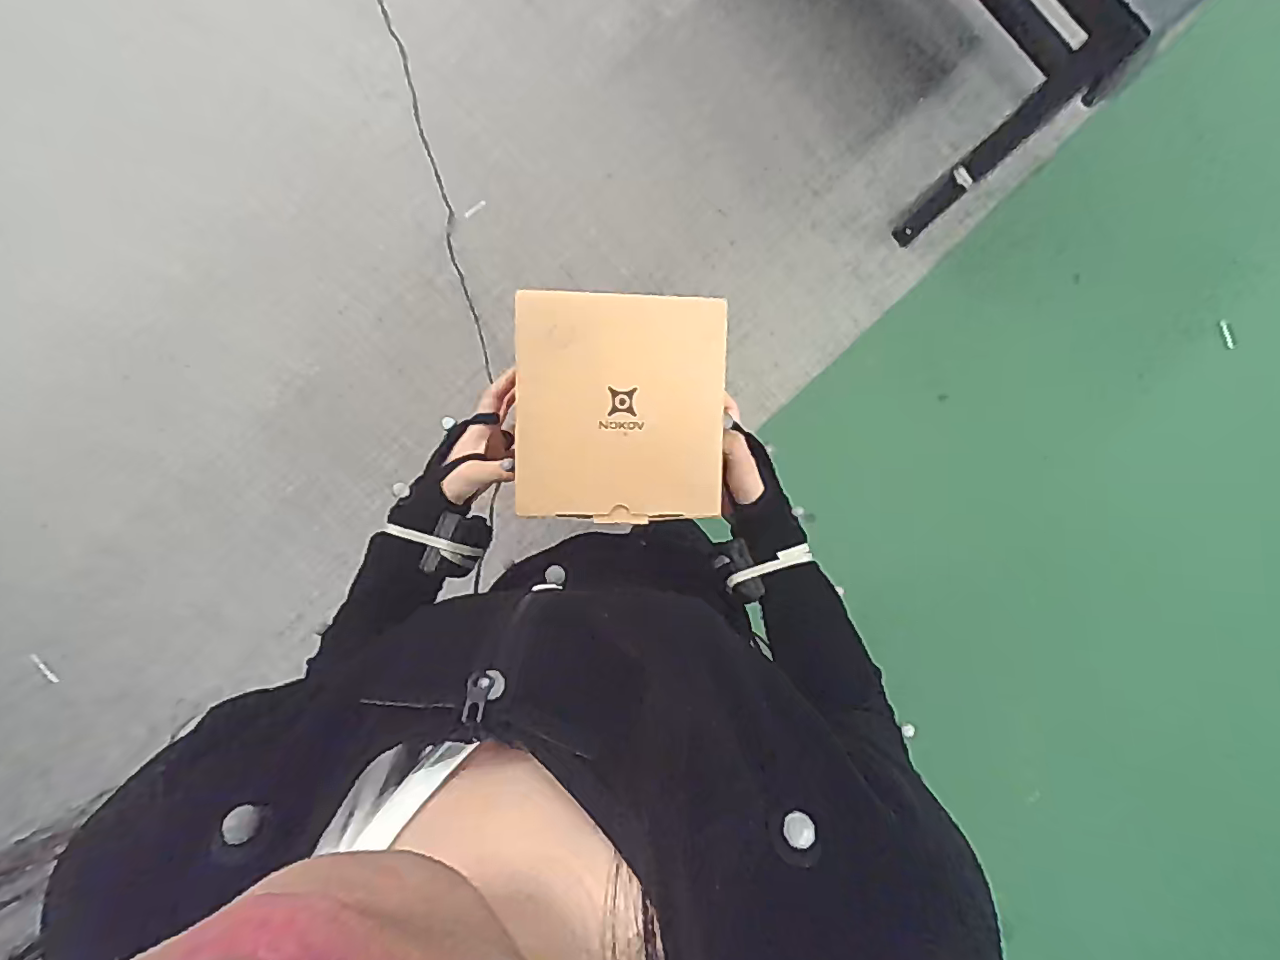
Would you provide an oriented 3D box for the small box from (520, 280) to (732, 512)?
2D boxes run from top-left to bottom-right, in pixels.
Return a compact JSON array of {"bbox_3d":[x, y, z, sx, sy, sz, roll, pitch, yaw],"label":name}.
[{"bbox_3d":[-0.021,-0.069,0.497,0.168,0.176,0.179,0,96,-7],"label":"small box"}]
